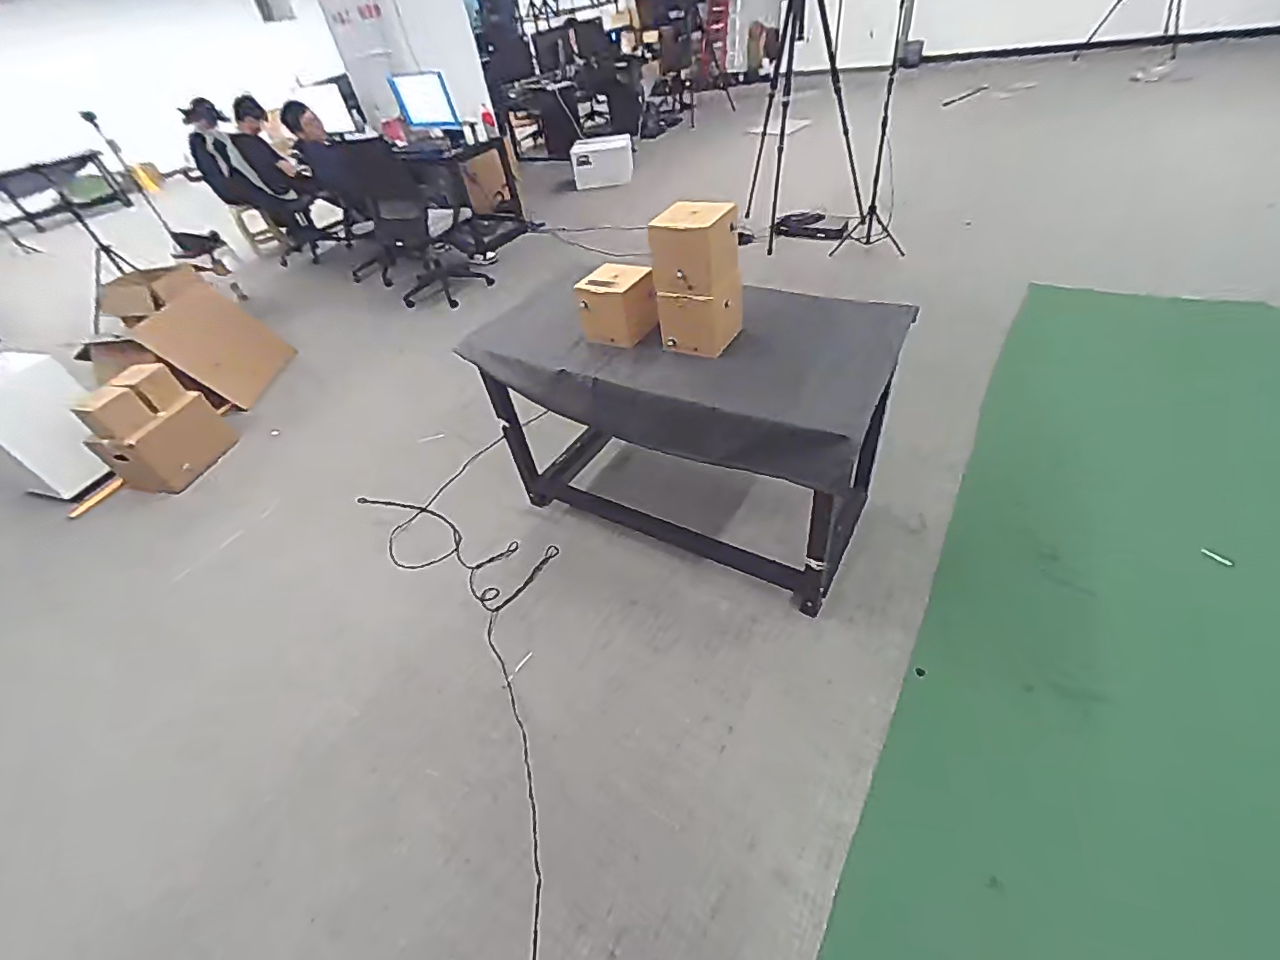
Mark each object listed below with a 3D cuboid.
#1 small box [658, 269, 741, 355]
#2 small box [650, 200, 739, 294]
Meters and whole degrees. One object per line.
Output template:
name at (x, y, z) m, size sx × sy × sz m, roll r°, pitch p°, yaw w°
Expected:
small box at (0.170, -0.460, 1.466) m, size 0.168 × 0.176 × 0.179 m, roll 17°, pitch 49°, yaw 27°
small box at (0.143, -0.591, 1.369) m, size 0.168 × 0.176 × 0.179 m, roll 16°, pitch 49°, yaw 27°
